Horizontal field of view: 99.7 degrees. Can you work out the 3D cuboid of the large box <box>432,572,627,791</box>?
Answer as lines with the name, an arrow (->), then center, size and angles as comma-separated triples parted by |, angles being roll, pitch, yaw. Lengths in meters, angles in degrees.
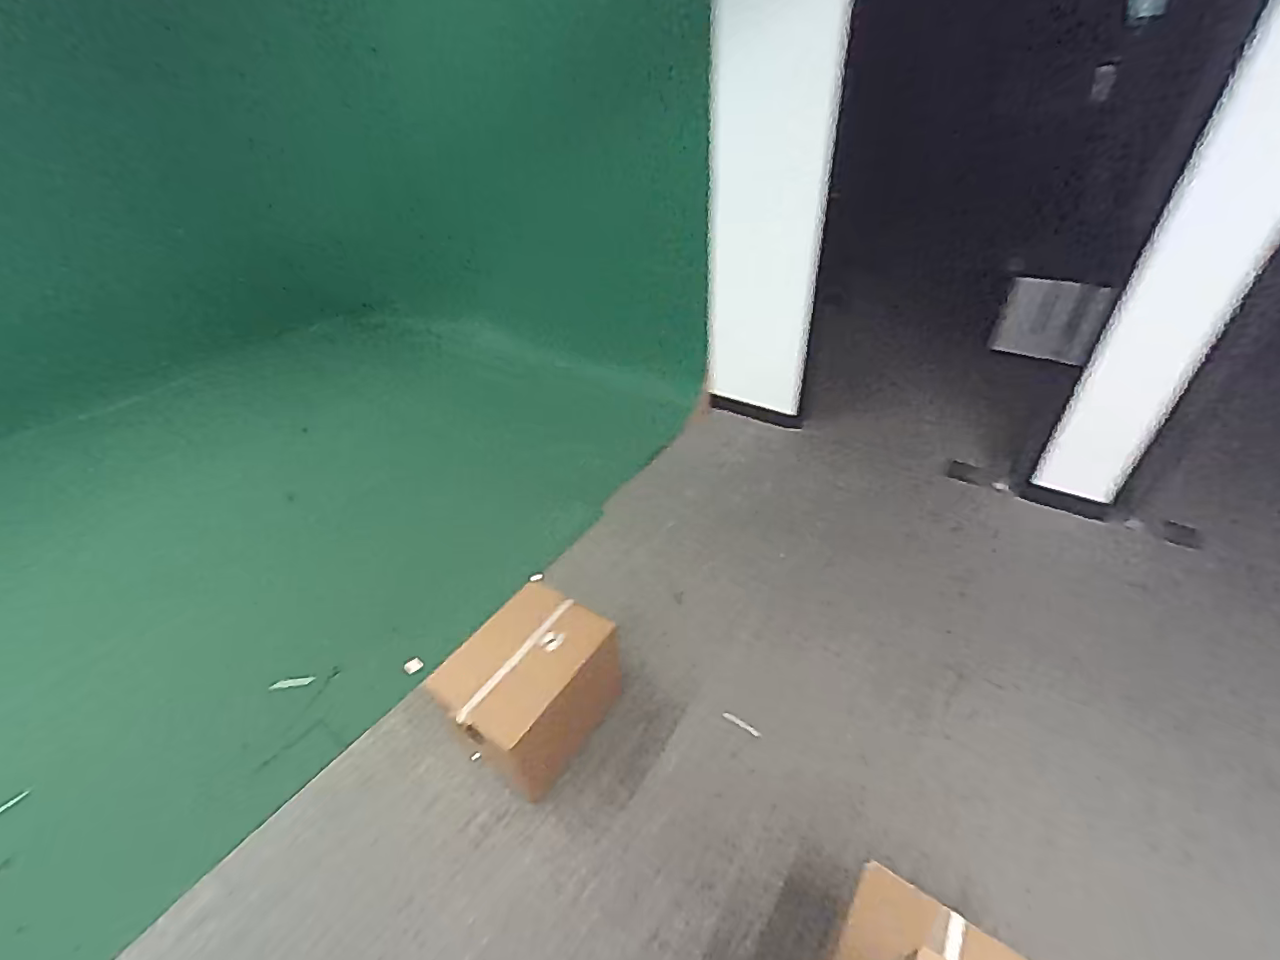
large box -> -0.282, 0.543, 1.499 | 0.320, 0.320, 0.408 | 21, 46, 29
